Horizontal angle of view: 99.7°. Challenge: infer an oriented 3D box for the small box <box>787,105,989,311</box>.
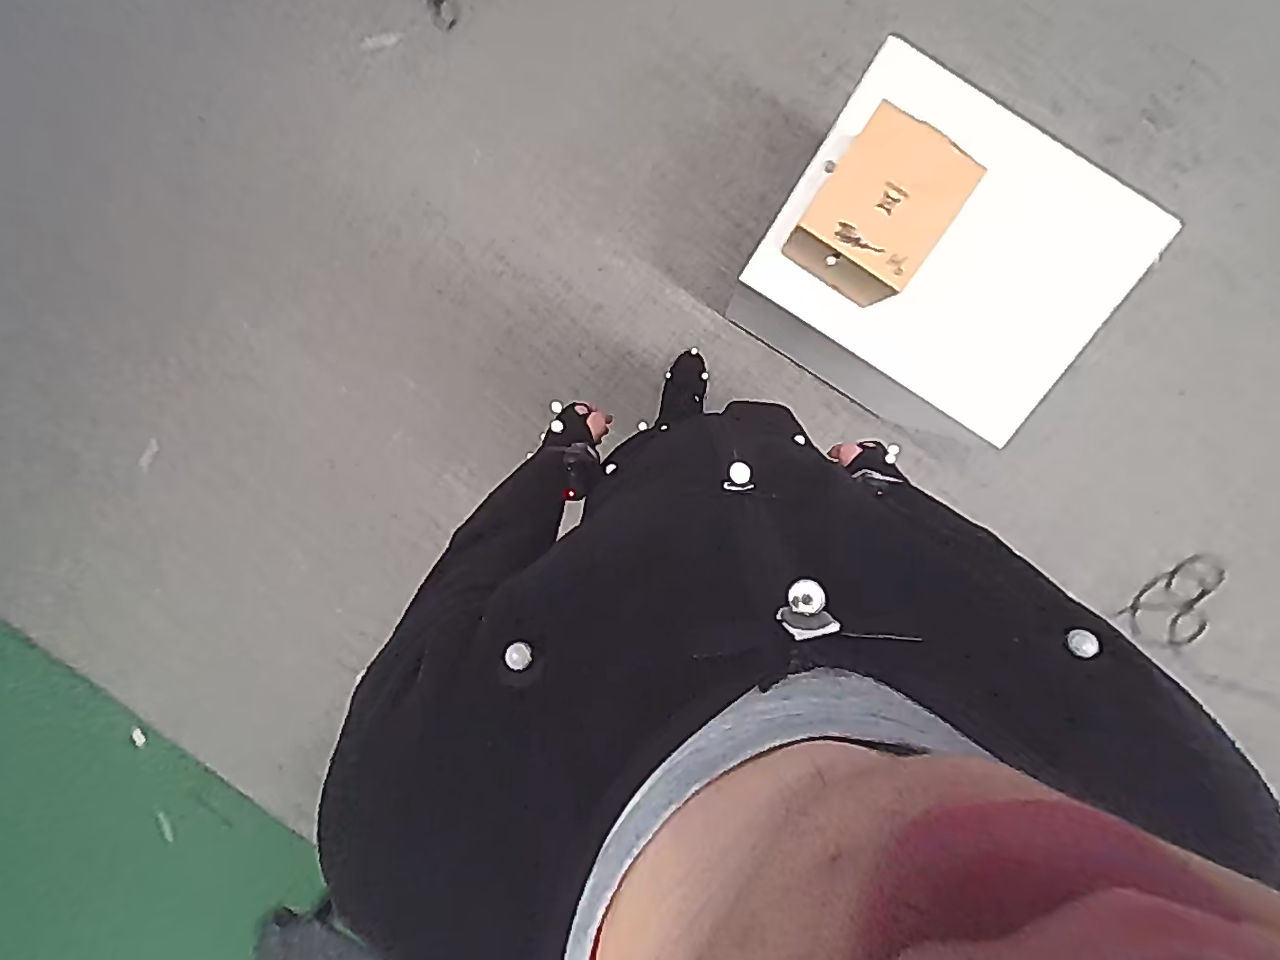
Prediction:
[{"bbox_3d":[0.329,-0.364,0.764,0.168,0.176,0.179,34,102,-1],"label":"small box"}]
